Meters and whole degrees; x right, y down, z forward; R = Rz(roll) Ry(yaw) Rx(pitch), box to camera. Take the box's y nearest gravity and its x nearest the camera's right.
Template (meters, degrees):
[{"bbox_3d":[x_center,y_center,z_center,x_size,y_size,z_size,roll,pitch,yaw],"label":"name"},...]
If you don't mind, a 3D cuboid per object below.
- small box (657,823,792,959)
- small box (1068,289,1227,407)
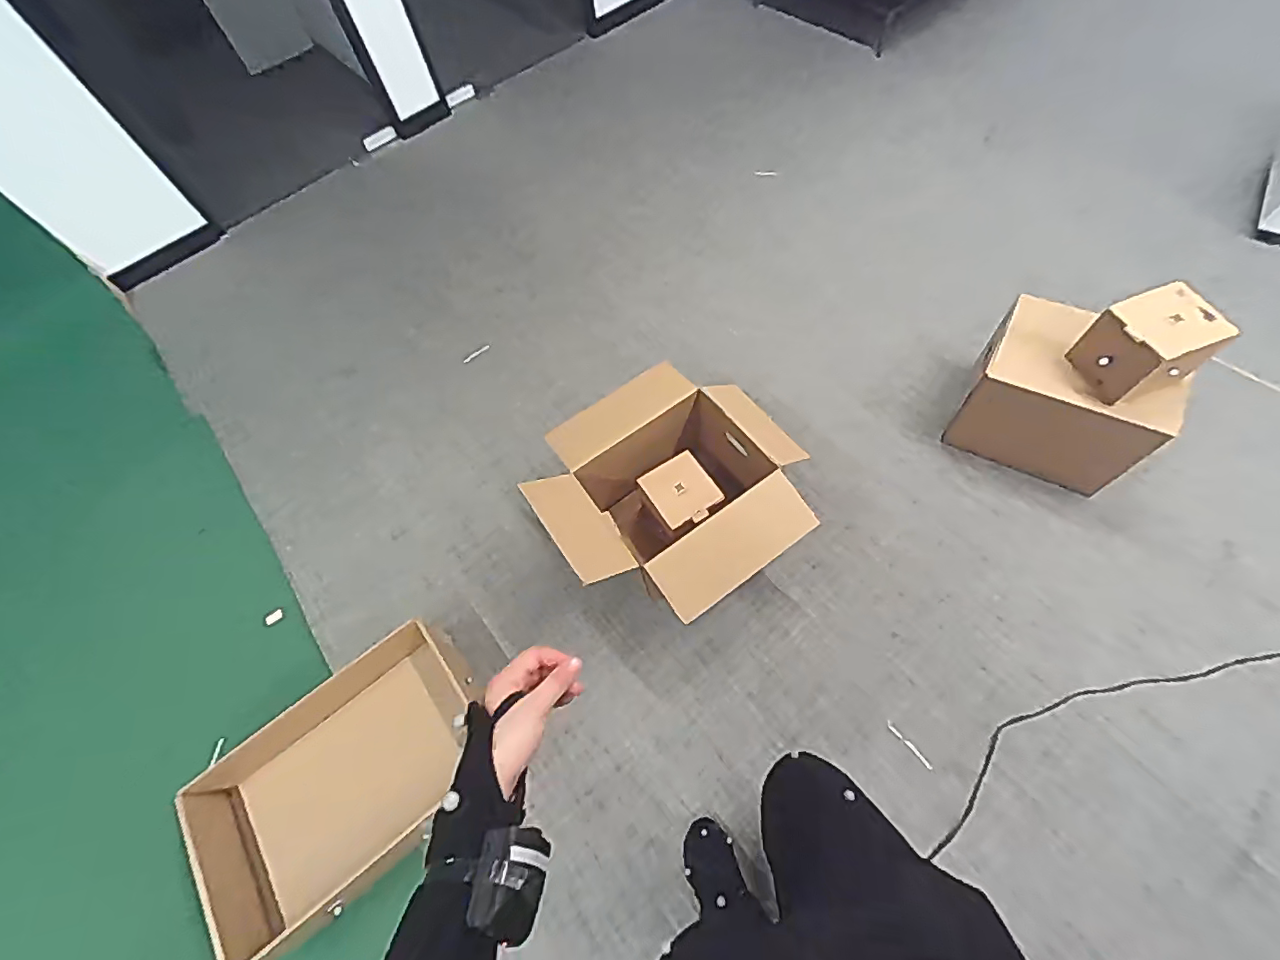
[{"bbox_3d":[0.172,0.818,1.066,0.176,0.168,0.179,45,47,-3],"label":"small box"},{"bbox_3d":[1.129,-0.292,1.228,0.179,0.176,0.168,-20,62,-2],"label":"small box"}]
